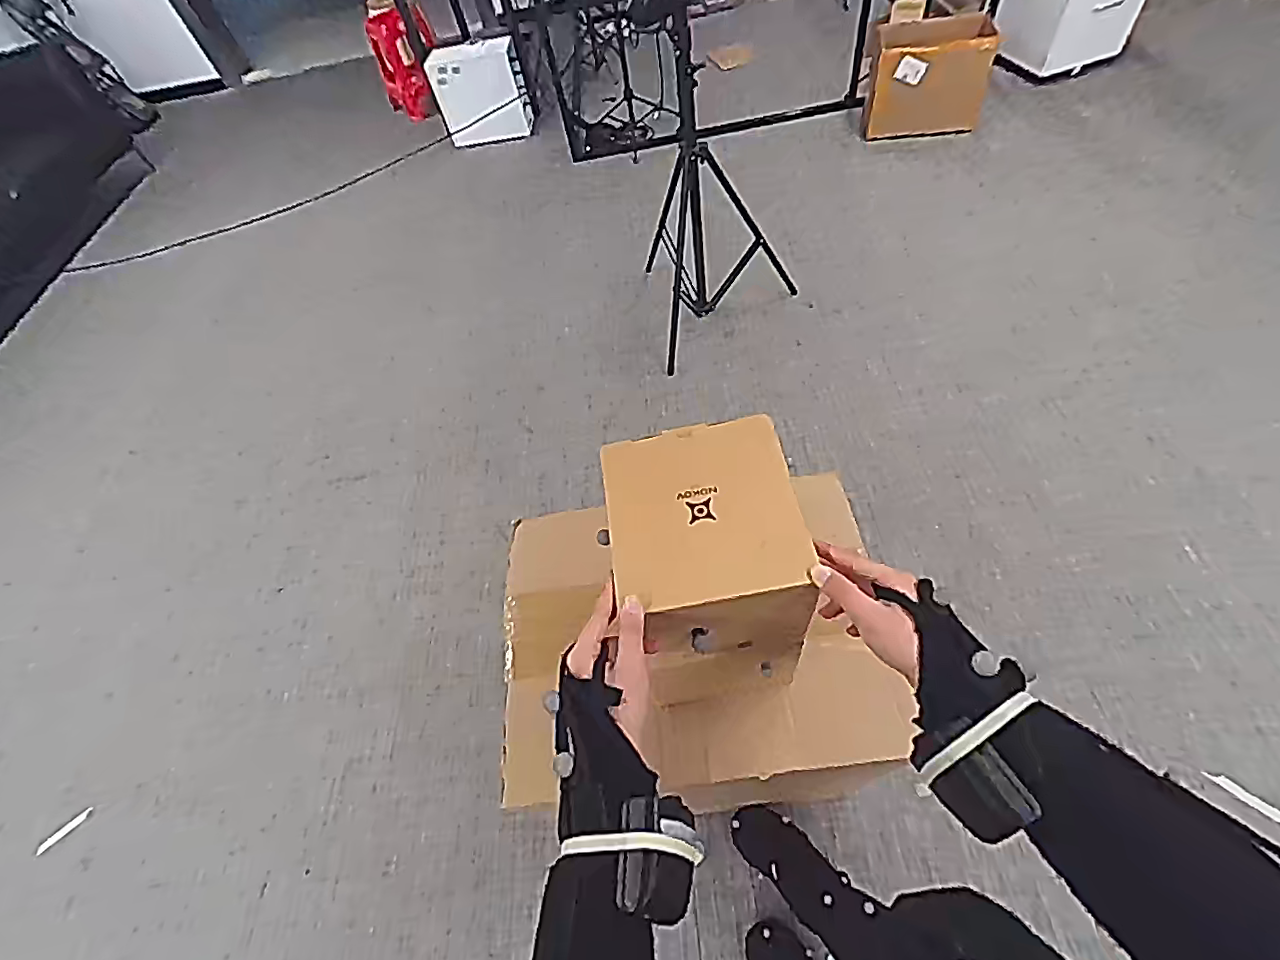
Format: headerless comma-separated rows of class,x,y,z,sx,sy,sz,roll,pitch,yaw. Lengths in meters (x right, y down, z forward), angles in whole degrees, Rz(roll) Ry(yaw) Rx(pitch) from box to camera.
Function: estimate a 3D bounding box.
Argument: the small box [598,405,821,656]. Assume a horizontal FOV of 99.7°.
small box,0.062,0.059,0.524,0.168,0.176,0.179,-11,55,3
